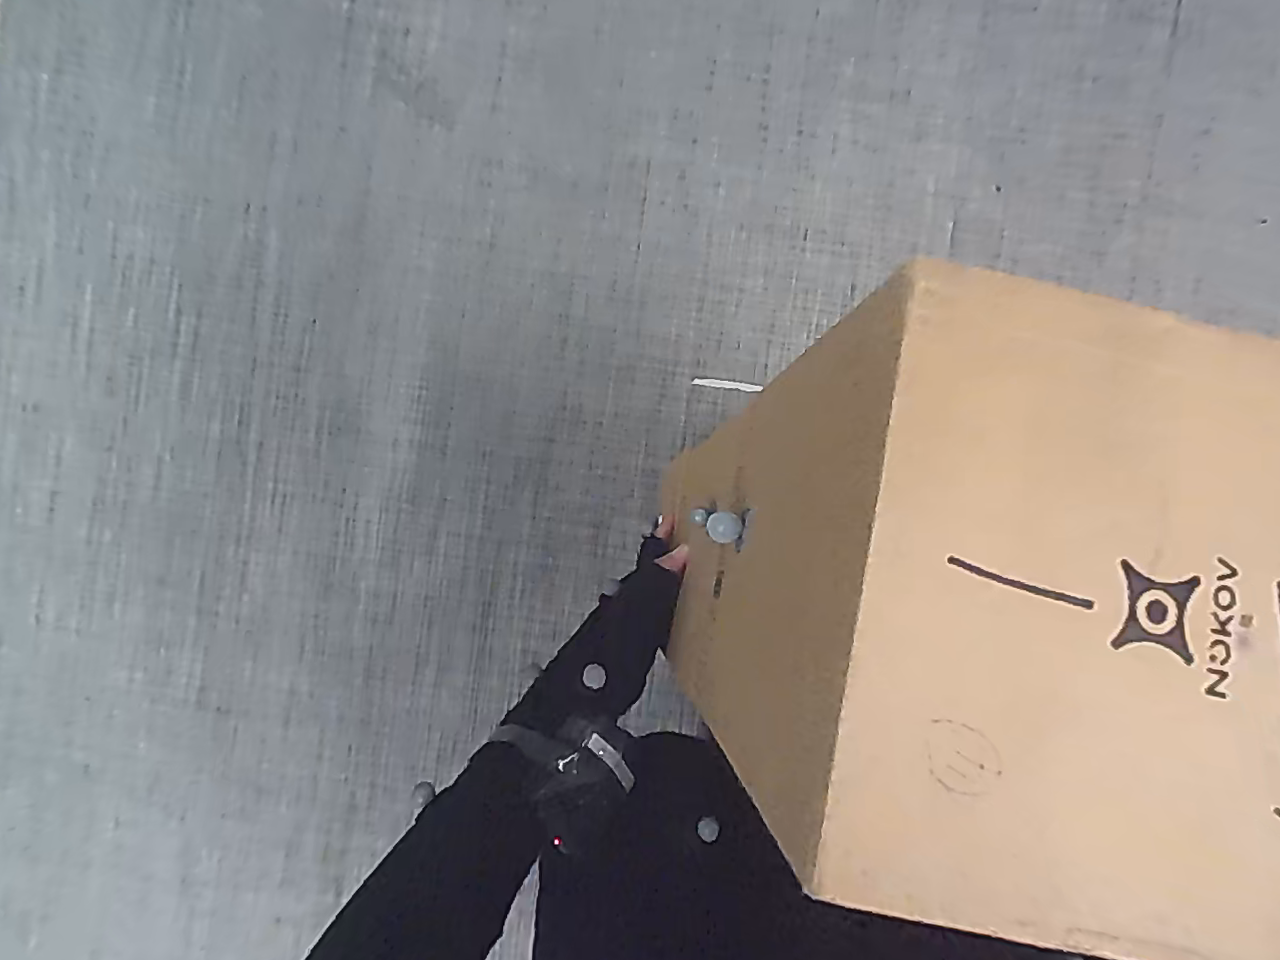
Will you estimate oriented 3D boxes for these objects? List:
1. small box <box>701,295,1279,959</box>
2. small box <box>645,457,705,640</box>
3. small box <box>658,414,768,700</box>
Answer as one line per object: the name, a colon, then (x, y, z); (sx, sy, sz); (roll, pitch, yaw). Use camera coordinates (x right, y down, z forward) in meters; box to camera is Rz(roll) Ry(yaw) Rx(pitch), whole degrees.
small box: (0.137, 0.048, 0.230); (0.179, 0.176, 0.168); (9, 83, -4)
small box: (0.107, 0.081, 0.555); (0.179, 0.176, 0.168); (9, 83, -2)
small box: (0.121, 0.067, 0.388); (0.179, 0.176, 0.168); (11, 80, -4)
